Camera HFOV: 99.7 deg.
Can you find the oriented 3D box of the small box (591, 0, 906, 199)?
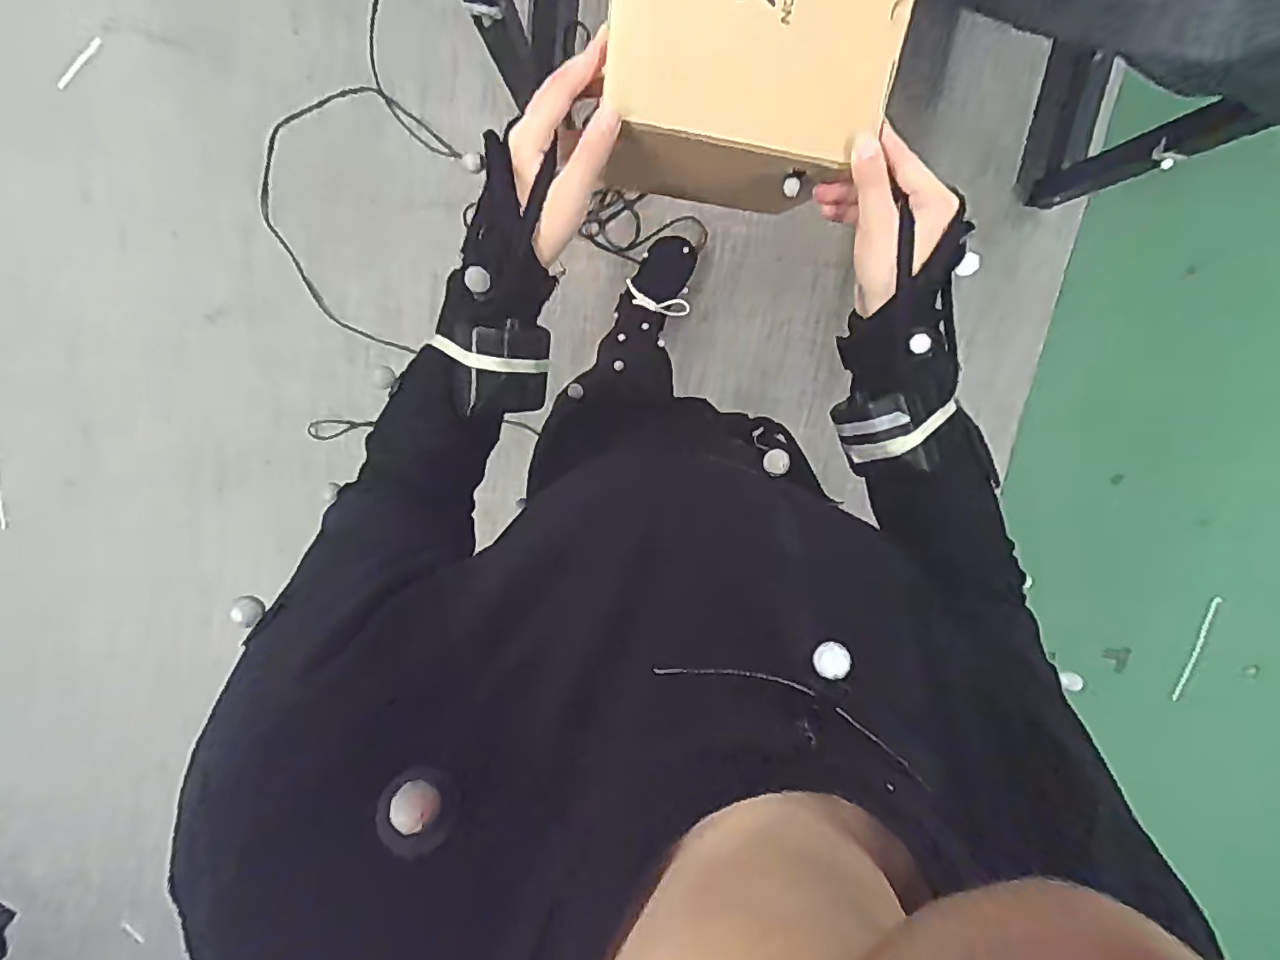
[{"bbox_3d":[0.061,-0.312,0.378,0.179,0.176,0.168,5,106,-9],"label":"small box"}]
